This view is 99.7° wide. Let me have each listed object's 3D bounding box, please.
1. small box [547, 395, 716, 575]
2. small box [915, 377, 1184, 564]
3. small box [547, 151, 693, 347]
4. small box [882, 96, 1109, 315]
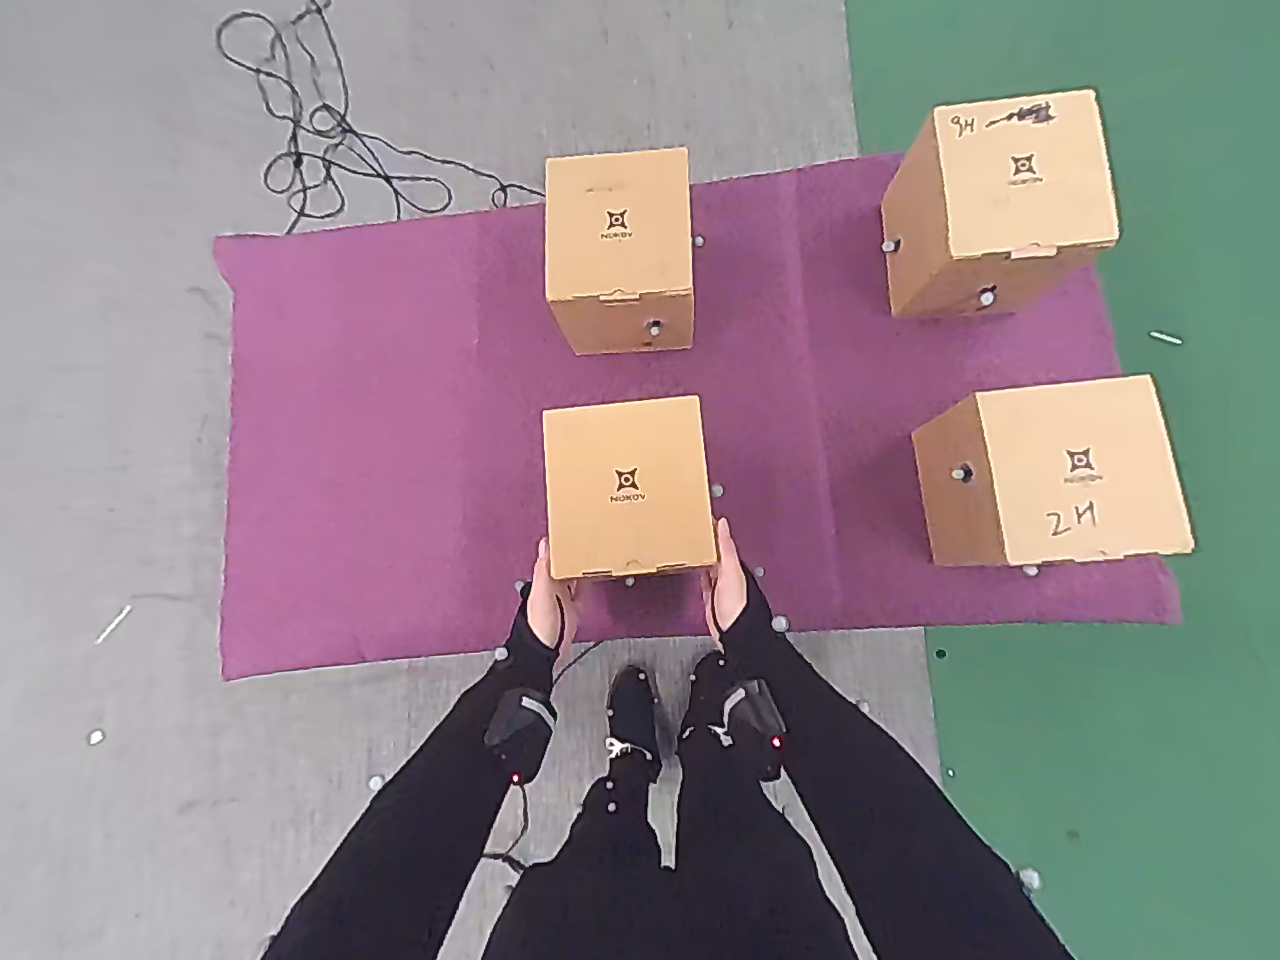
[{"bbox_3d":[-0.009,0.016,0.628,0.168,0.176,0.179,-5,80,2],"label":"small box"},{"bbox_3d":[0.429,0.001,0.603,0.168,0.176,0.179,-5,81,6],"label":"small box"},{"bbox_3d":[-0.016,-0.276,0.687,0.168,0.176,0.179,-1,82,4],"label":"small box"},{"bbox_3d":[0.408,-0.310,0.651,0.168,0.176,0.179,-3,85,5],"label":"small box"}]
